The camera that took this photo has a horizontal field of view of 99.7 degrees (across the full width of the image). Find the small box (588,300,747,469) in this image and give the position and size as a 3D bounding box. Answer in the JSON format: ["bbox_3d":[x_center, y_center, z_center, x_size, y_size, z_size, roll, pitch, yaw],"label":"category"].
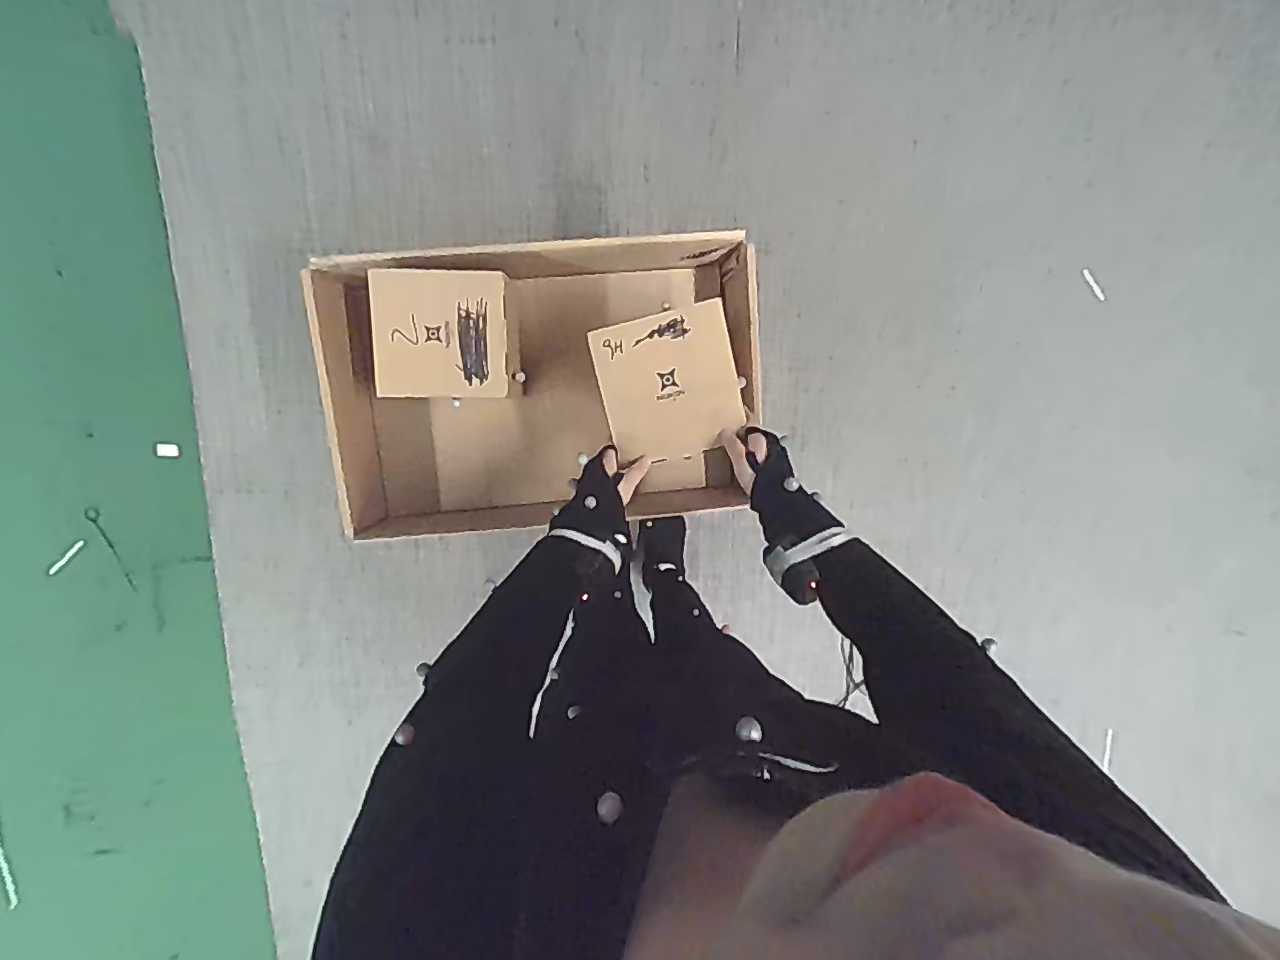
[{"bbox_3d":[0.043,-0.128,0.724,0.168,0.176,0.179,-12,101,9],"label":"small box"}]
